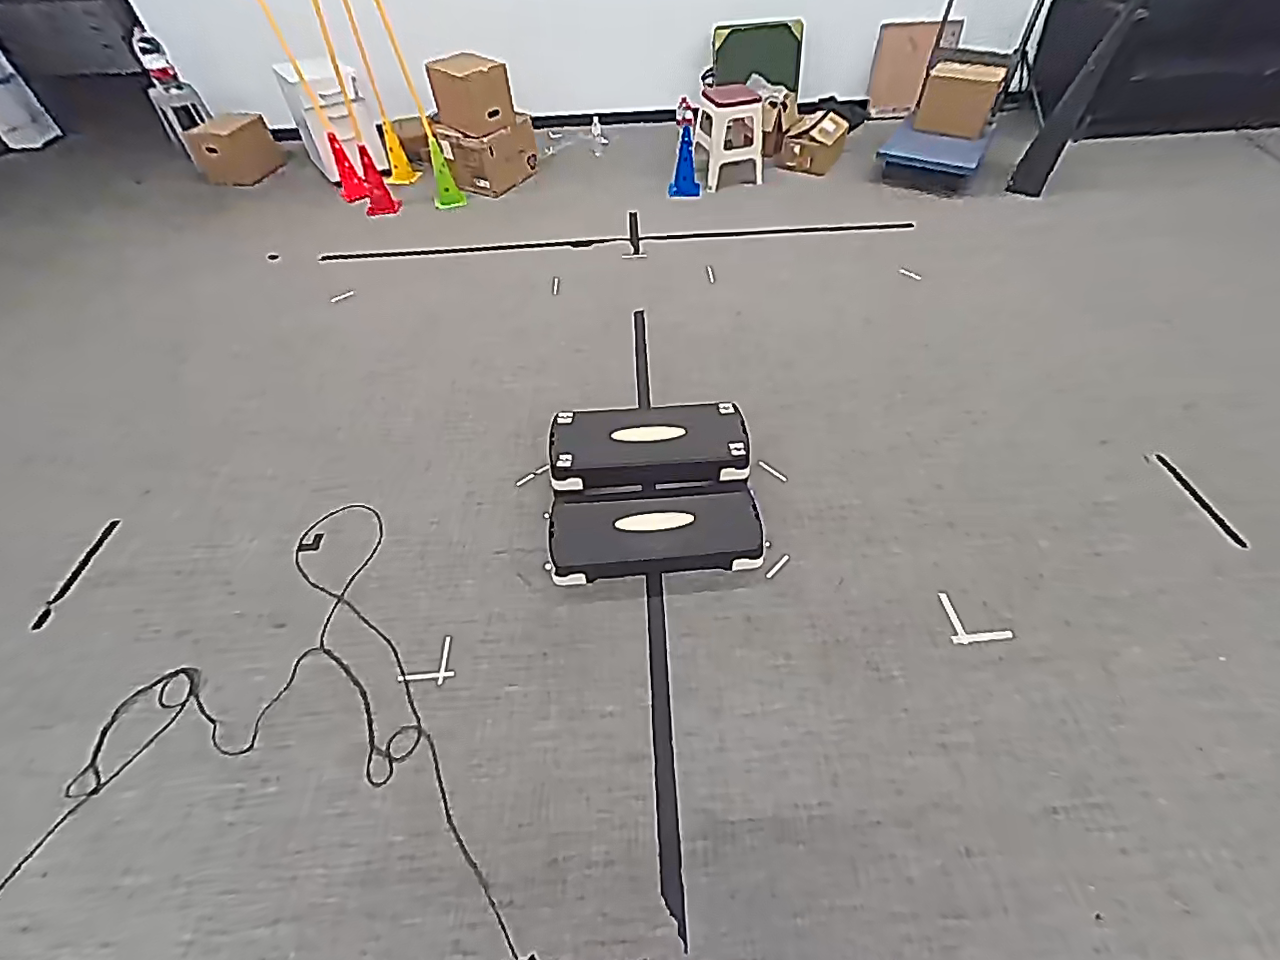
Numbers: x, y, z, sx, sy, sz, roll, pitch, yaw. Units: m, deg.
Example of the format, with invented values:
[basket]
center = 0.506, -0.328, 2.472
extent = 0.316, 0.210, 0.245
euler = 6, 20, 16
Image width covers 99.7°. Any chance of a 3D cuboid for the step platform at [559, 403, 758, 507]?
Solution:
[step platform]
center = 0.061, -0.094, 1.887
extent = 0.684, 0.204, 0.286
euler = -4, 50, -2
